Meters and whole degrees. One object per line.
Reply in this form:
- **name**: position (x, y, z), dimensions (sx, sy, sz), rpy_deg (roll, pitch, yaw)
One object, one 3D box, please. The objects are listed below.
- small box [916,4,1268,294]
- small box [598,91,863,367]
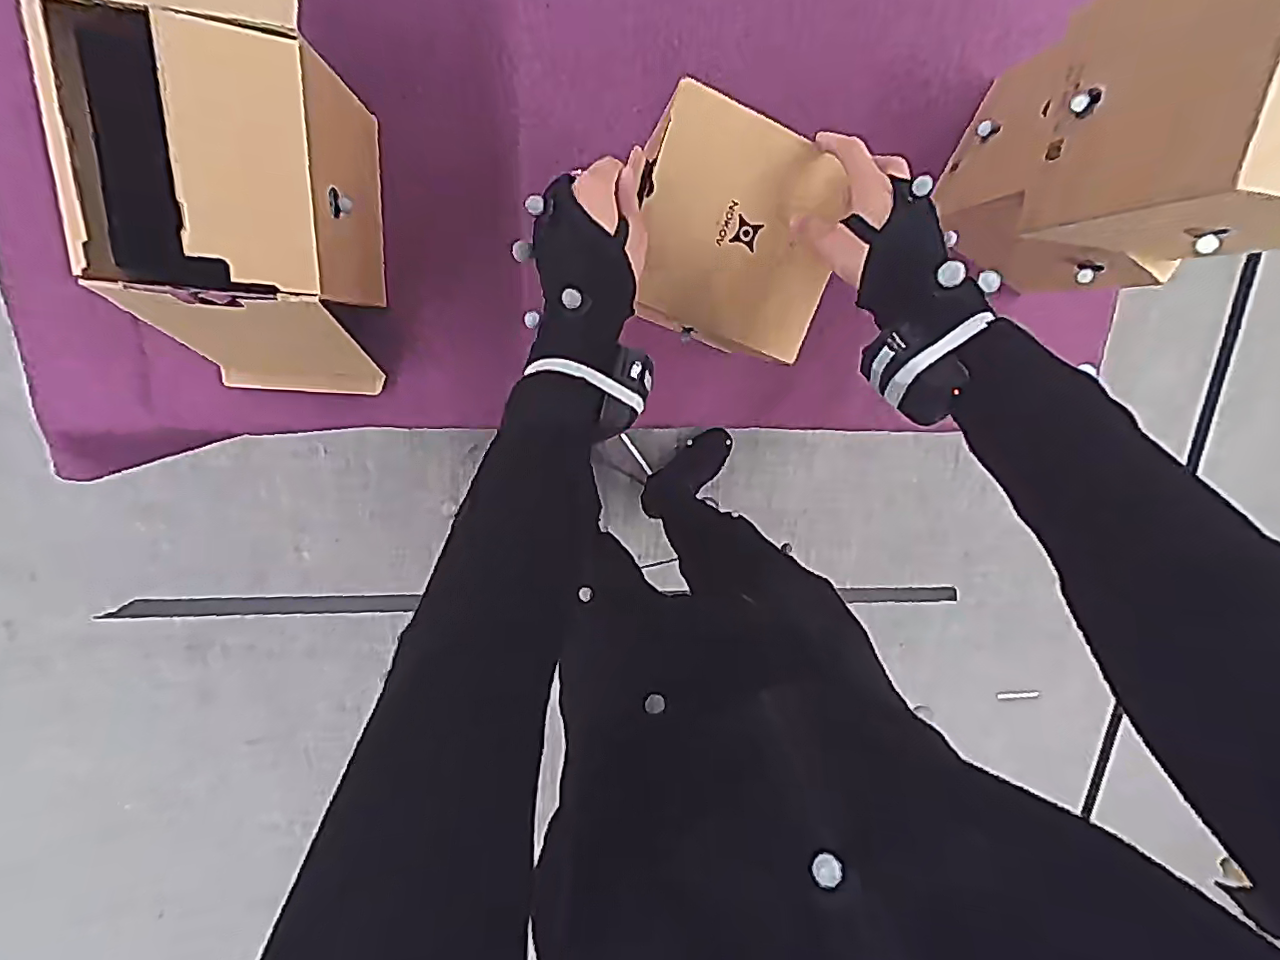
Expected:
- **small box**: position (0.432, -0.304, 0.547), dimensions (0.179, 0.176, 0.168), rpy_deg (25, 100, -13)
- **small box**: position (0.067, -0.218, 0.520), dimensions (0.179, 0.176, 0.168), rpy_deg (17, 103, -13)
